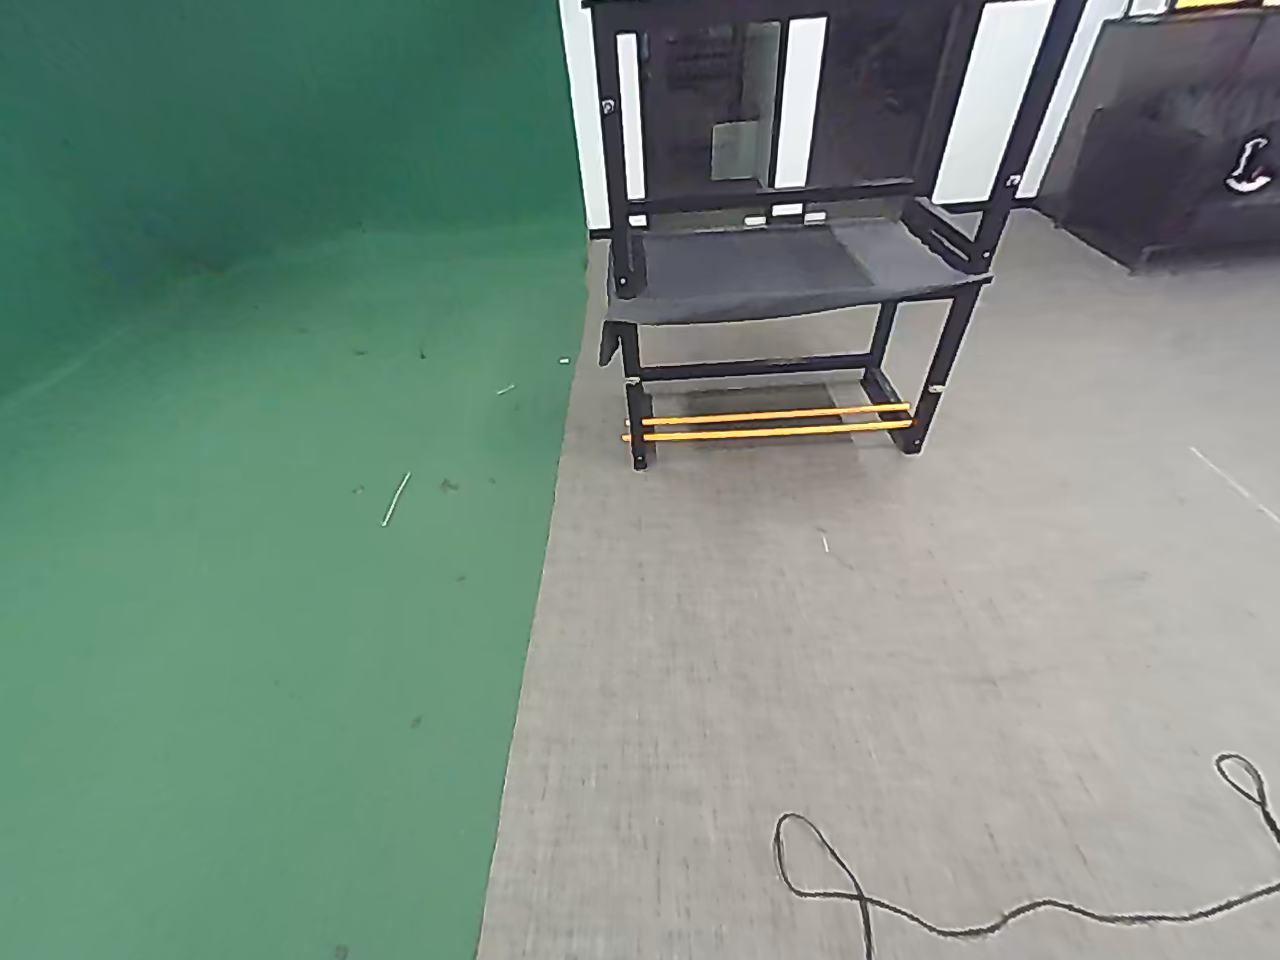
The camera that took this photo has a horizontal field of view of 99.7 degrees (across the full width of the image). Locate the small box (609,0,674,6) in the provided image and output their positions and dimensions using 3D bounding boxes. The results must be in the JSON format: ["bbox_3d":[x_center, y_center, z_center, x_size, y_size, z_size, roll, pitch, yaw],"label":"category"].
[{"bbox_3d":[-0.002,-1.274,1.322,0.168,0.176,0.179,-4,43,1],"label":"small box"}]
